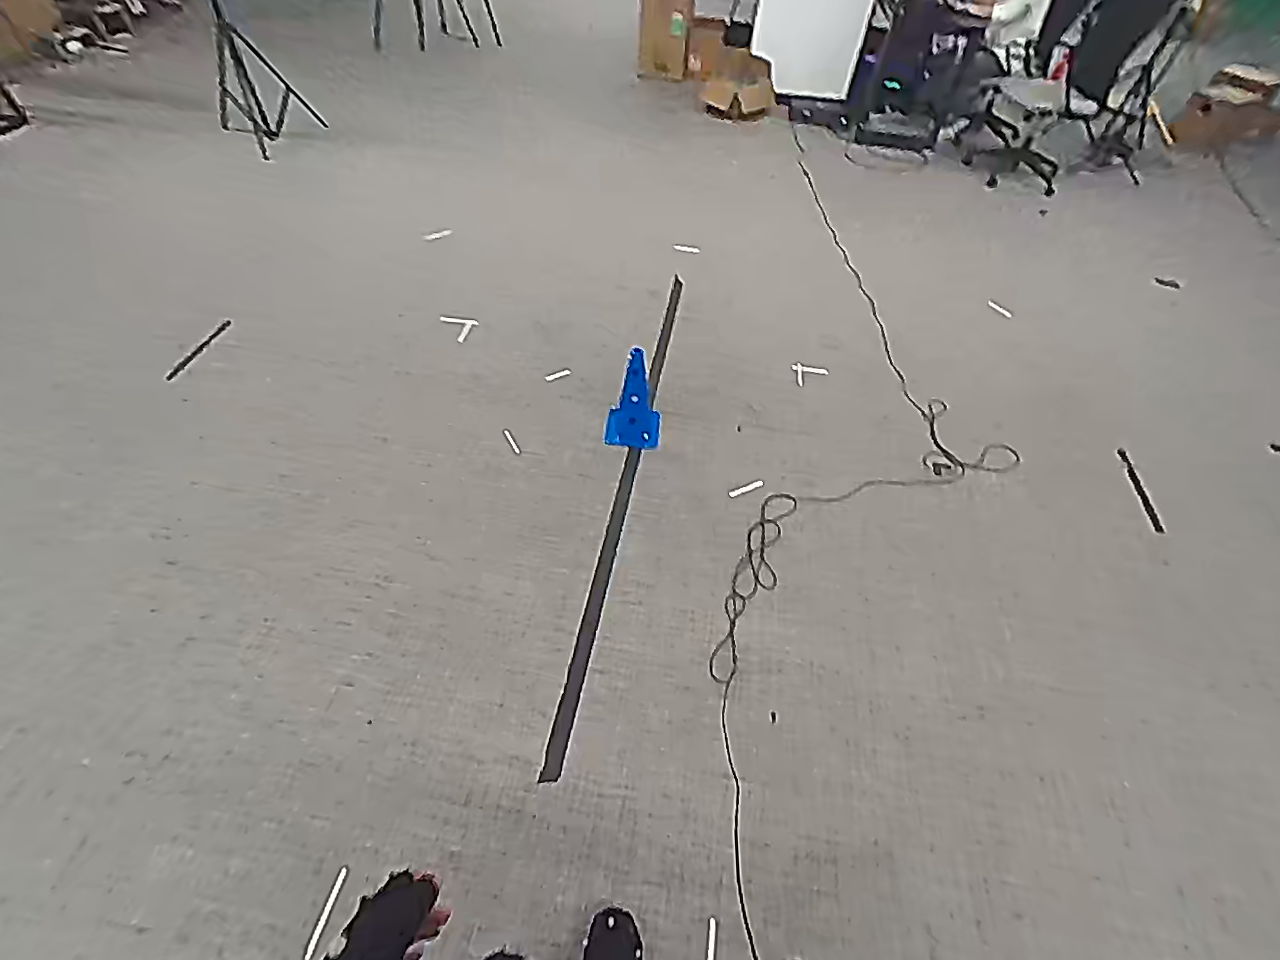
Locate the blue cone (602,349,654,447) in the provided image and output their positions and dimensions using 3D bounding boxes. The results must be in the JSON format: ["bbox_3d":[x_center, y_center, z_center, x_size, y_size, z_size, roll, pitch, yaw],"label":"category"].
[{"bbox_3d":[-0.037,-0.302,1.925,0.192,0.380,0.193,7,50,2],"label":"blue cone"}]
